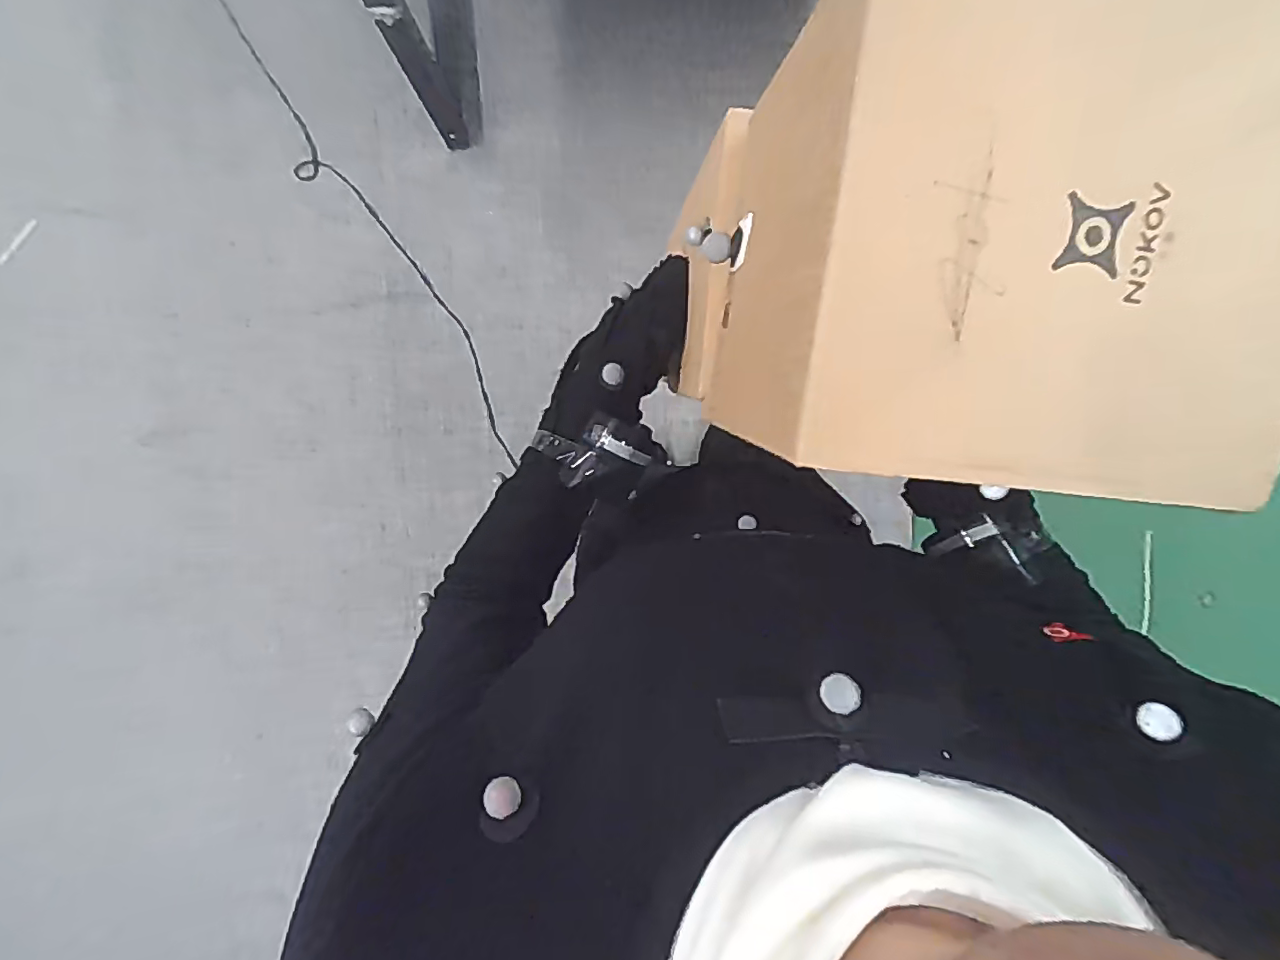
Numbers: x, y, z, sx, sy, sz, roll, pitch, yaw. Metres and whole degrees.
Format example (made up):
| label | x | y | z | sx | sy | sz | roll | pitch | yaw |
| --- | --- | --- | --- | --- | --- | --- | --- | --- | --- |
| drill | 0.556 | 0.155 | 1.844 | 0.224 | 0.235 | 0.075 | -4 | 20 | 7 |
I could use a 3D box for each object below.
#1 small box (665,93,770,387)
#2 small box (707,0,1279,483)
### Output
| label | x | y | z | sx | sy | sz | roll | pitch | yaw |
| --- | --- | --- | --- | --- | --- | --- | --- | --- | --- |
| small box | 0.122 | -0.147 | 0.406 | 0.179 | 0.176 | 0.168 | 4 | 100 | -6 |
| small box | 0.139 | -0.100 | 0.250 | 0.179 | 0.176 | 0.168 | 5 | 99 | -4 |
